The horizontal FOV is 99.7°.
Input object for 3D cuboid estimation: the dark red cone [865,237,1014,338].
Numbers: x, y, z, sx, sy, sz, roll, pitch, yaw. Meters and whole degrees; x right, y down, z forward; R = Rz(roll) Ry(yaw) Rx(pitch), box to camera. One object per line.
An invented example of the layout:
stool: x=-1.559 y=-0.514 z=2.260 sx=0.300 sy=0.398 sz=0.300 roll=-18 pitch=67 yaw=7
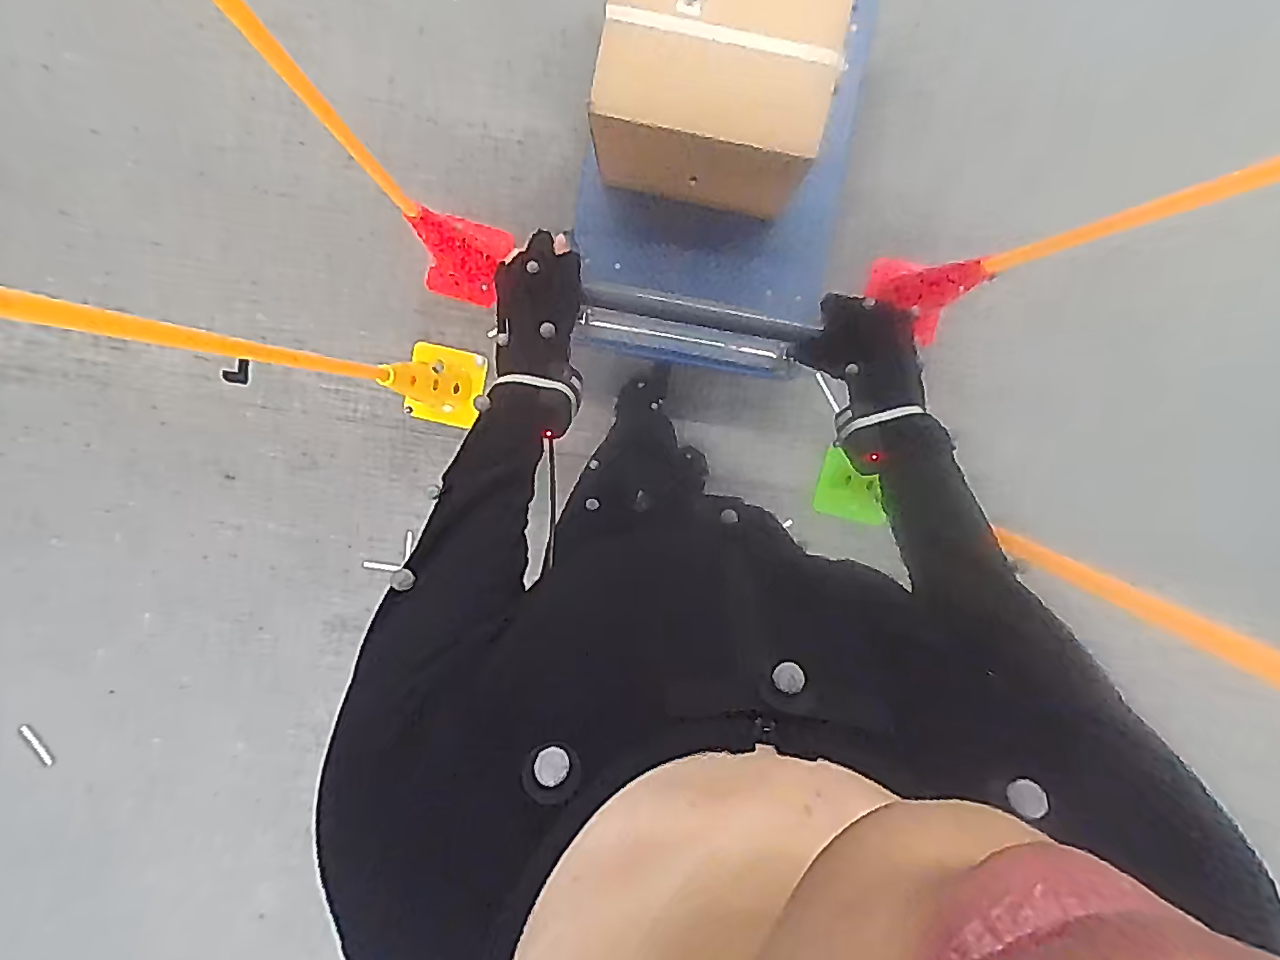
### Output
dark red cone: x=0.684 y=-0.456 z=1.210 sx=0.201 sy=0.394 sz=0.202 roll=9 pitch=97 yaw=-2

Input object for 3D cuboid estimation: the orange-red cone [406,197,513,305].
orange-red cone: x=-0.445 y=-0.560 z=1.239 sx=0.198 sy=0.360 sz=0.199 roll=17 pitch=95 yaw=-2

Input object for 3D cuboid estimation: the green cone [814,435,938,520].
green cone: x=0.584 y=0.014 z=1.281 sx=0.202 sy=0.368 sz=0.200 roll=13 pitch=96 yaw=-2

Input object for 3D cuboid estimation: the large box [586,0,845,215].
large box: x=0.135 y=-0.758 z=1.061 sx=0.408 sy=0.320 sz=0.320 roll=12 pitch=97 yaw=0
